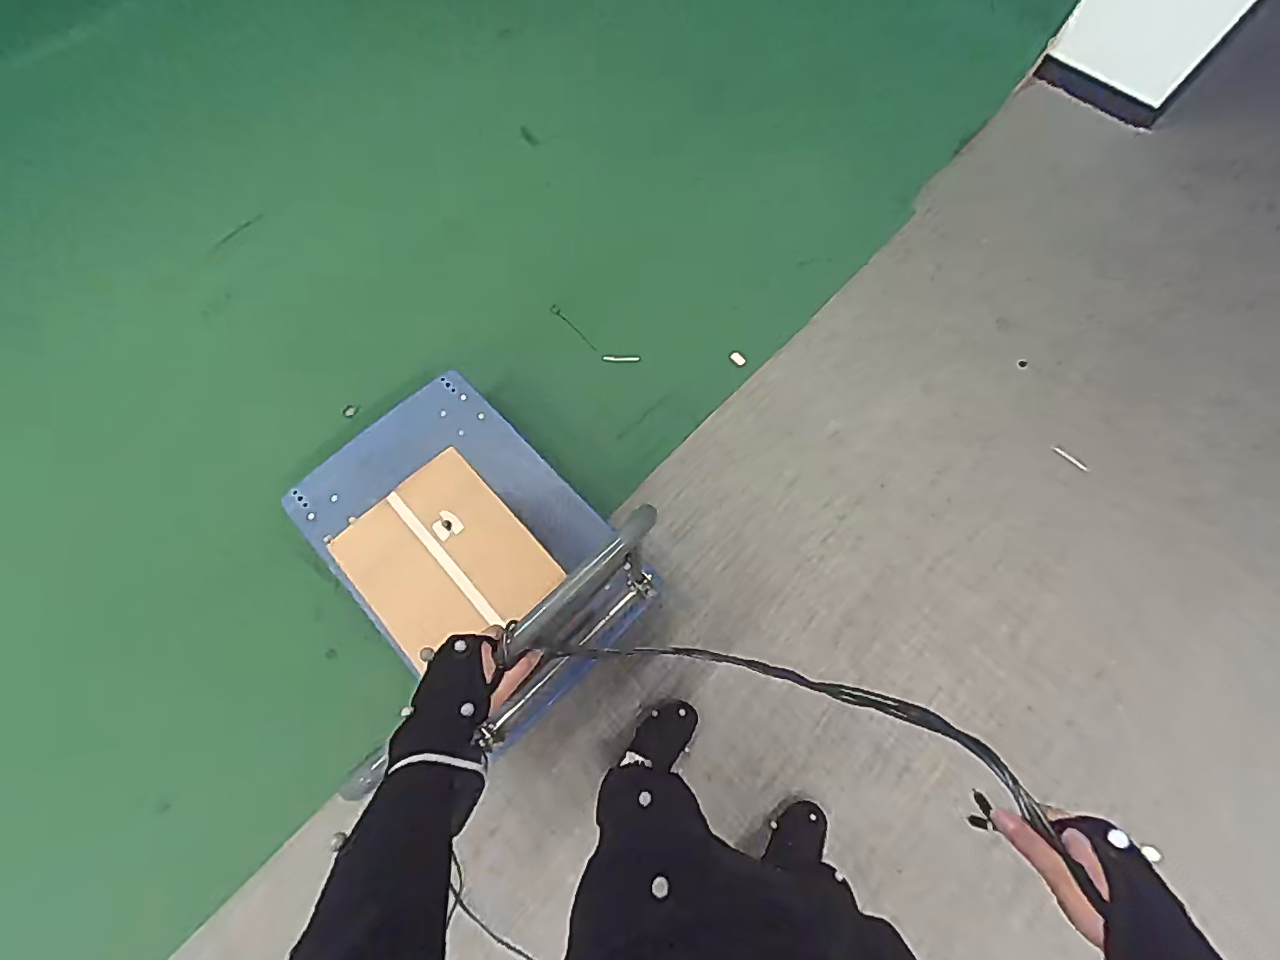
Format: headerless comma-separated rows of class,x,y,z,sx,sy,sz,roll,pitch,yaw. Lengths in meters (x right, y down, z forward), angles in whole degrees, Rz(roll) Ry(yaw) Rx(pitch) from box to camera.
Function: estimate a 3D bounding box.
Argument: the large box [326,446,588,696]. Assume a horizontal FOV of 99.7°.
large box,-0.370,0.207,1.185,0.320,0.320,0.408,-41,75,-13
